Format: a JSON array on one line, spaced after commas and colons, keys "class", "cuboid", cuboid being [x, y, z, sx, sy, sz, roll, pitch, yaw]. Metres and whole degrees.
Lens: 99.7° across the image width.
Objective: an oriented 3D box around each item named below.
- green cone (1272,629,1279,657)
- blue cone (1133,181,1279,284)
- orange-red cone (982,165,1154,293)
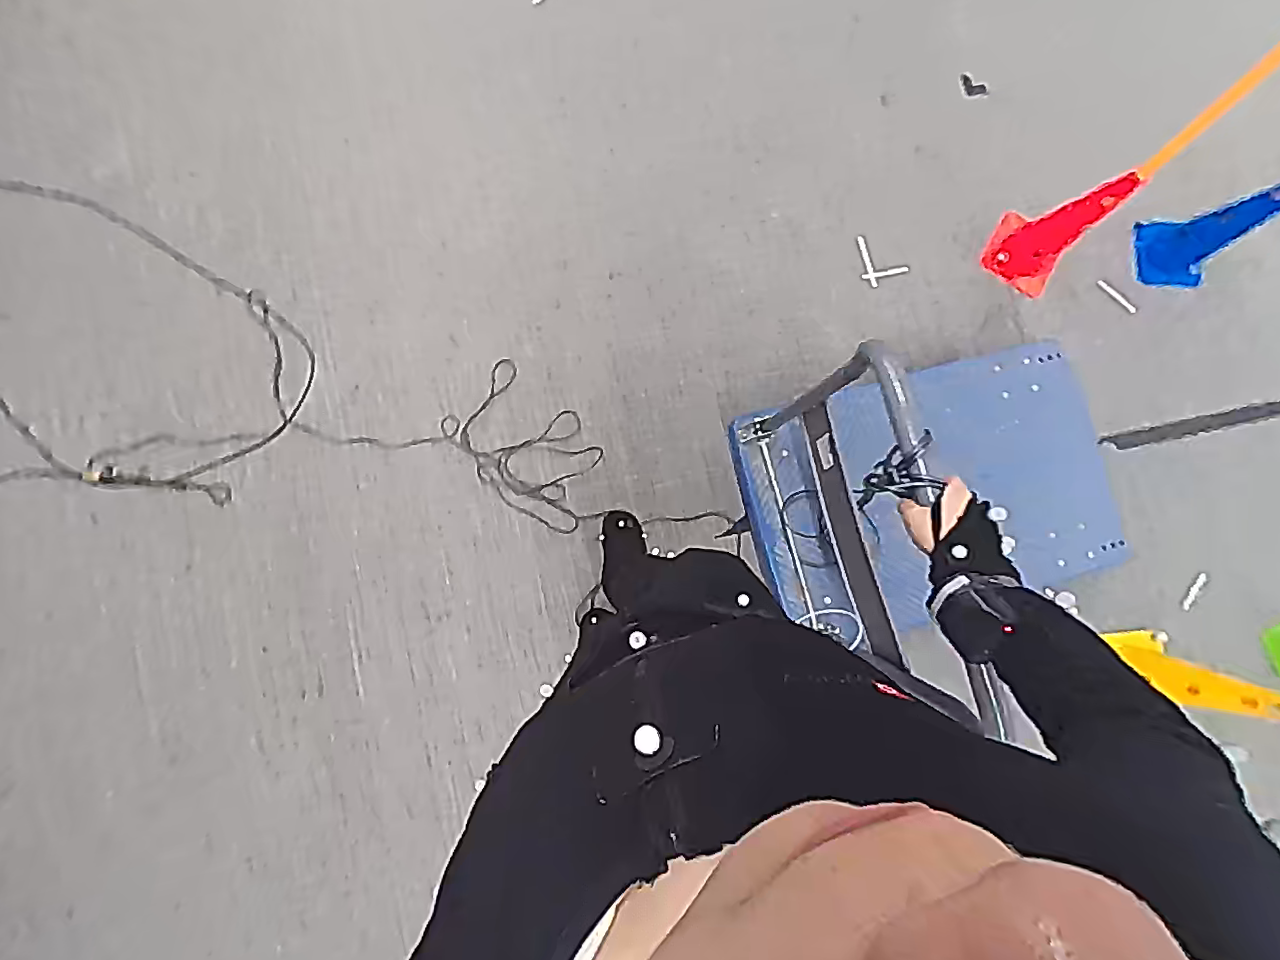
[{"class": "green cone", "cuboid": [1.855, 0.453, 1.305, 0.202, 0.368, 0.200, -26, 86, -5]}, {"class": "blue cone", "cuboid": [1.549, -0.682, 1.421, 0.192, 0.380, 0.193, 3, 84, -3]}, {"class": "orange-red cone", "cuboid": [1.109, -0.668, 1.371, 0.199, 0.360, 0.198, 33, 83, -2]}]
